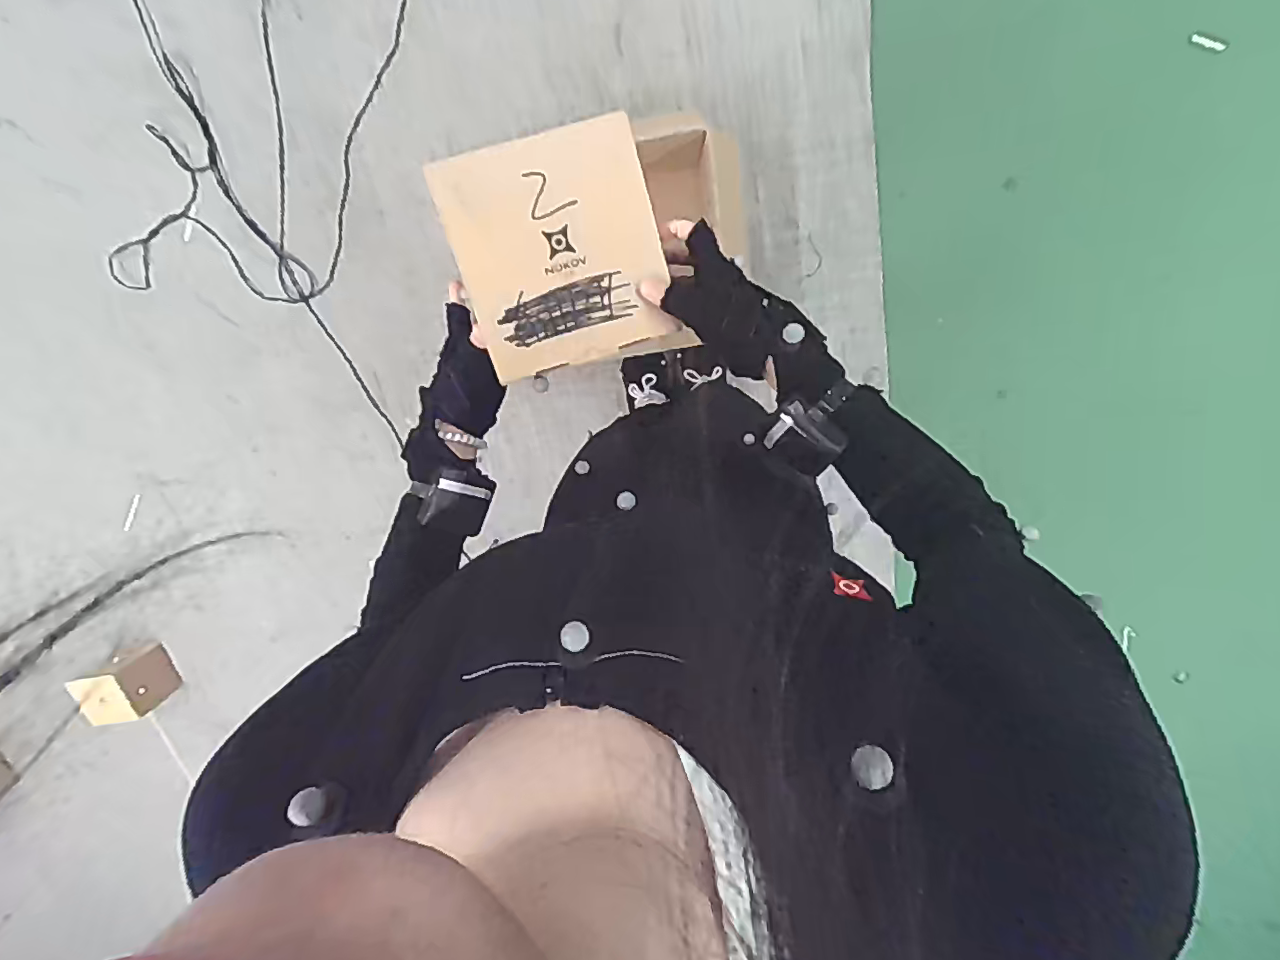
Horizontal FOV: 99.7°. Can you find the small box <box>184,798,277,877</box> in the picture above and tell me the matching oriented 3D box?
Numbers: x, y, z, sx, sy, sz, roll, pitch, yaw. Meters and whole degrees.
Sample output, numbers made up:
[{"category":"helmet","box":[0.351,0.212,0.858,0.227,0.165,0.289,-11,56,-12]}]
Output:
[{"category":"small box","box":[-1.466,1.282,1.947,0.179,0.176,0.168,-11,109,6]}]

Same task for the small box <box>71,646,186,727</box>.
[{"category":"small box","box":[-1.627,0.652,1.732,0.168,0.176,0.179,-11,109,6]}]
